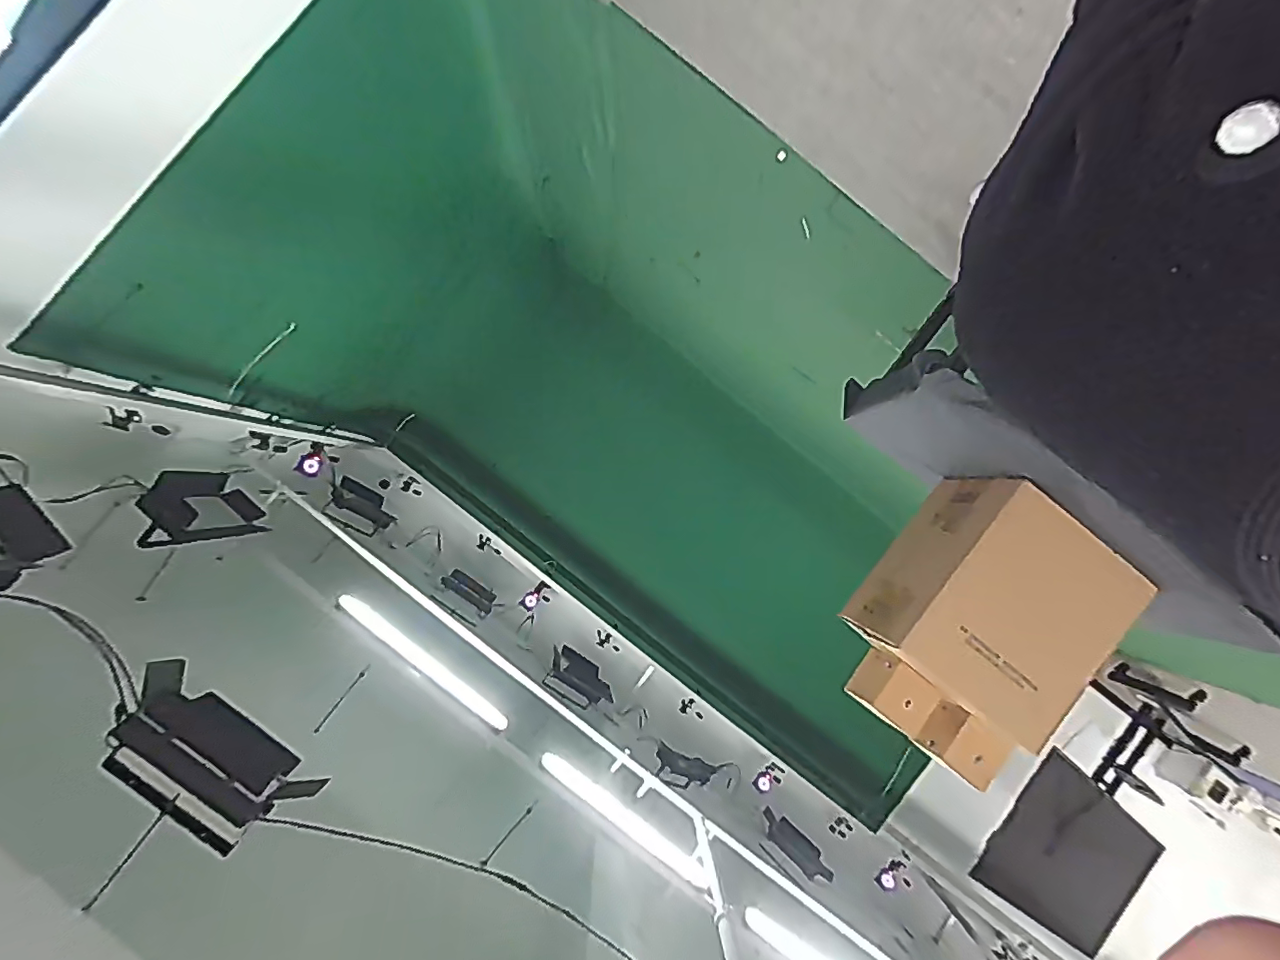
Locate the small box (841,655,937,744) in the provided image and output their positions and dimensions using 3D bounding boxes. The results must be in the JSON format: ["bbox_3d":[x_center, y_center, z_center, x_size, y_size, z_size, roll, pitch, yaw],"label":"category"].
[{"bbox_3d":[0.785,0.685,1.709,0.179,0.176,0.168,39,172,-4],"label":"small box"}]

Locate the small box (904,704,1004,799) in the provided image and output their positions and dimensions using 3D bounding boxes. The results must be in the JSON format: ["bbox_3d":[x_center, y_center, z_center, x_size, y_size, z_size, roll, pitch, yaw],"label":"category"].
[{"bbox_3d":[0.988,0.844,1.698,0.179,0.176,0.168,39,172,-3],"label":"small box"}]
